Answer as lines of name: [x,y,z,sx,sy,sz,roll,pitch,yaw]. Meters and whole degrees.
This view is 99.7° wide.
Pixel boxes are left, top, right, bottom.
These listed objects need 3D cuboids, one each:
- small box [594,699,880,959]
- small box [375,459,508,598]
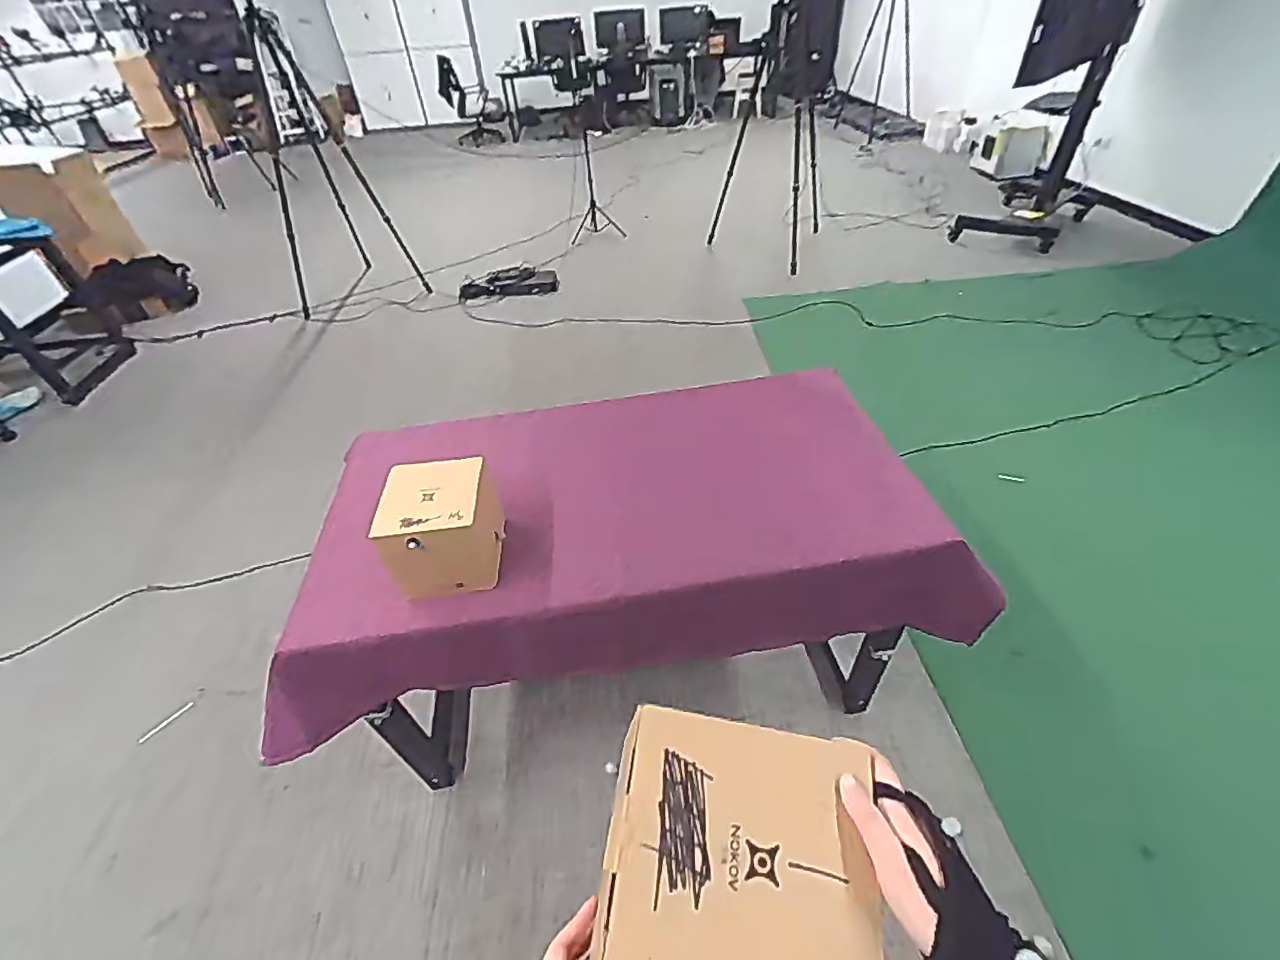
small box: [0.064,0.291,0.426,0.179,0.176,0.168,11,56,1]
small box: [-0.342,0.086,0.974,0.168,0.176,0.179,-7,42,-1]
